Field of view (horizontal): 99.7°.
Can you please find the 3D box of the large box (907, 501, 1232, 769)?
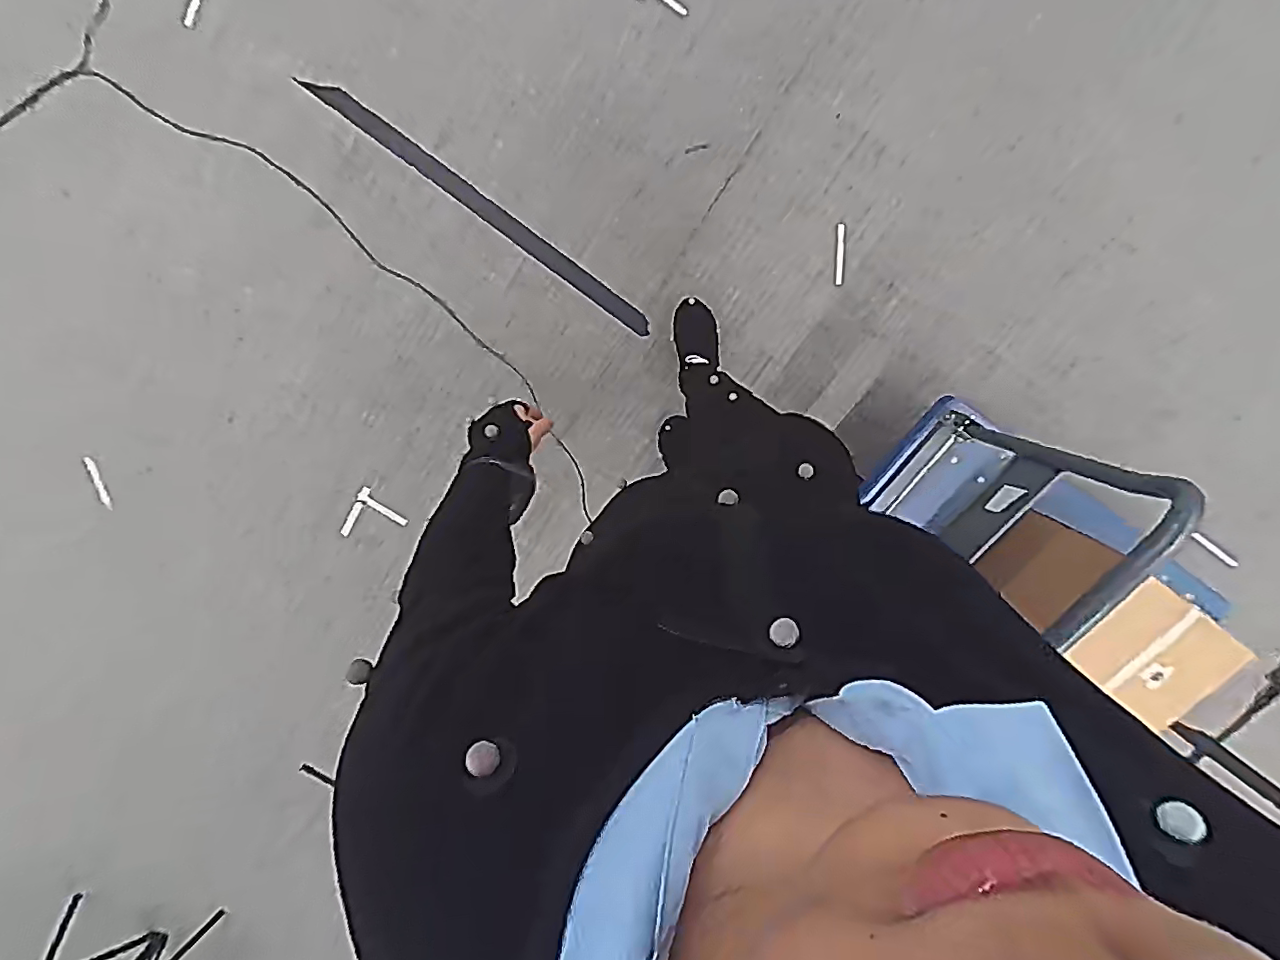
[{"bbox_3d":[0.893,0.321,1.196,0.320,0.320,0.408,35,104,-5],"label":"large box"}]
